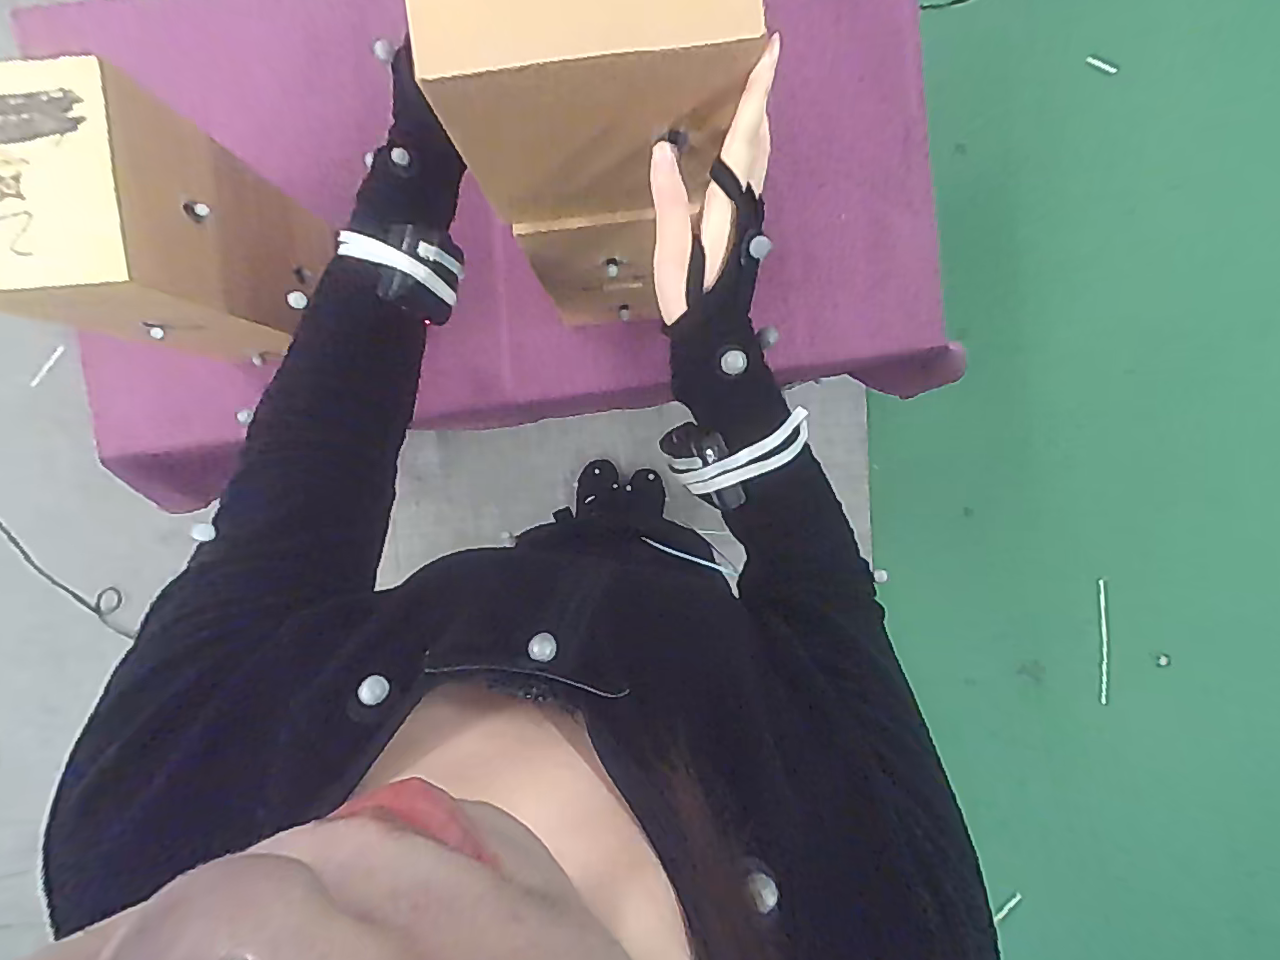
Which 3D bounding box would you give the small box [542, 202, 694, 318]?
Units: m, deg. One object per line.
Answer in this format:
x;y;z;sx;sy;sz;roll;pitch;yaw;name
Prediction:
-0.028;-0.306;0.673;0.168;0.176;0.179;-6;95;-1;small box

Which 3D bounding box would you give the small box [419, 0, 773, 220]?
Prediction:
-0.028;-0.288;0.344;0.179;0.176;0.168;-6;93;0;small box

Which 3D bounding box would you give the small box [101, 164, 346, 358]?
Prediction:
-0.492;-0.255;0.666;0.168;0.176;0.179;-4;95;-1;small box
